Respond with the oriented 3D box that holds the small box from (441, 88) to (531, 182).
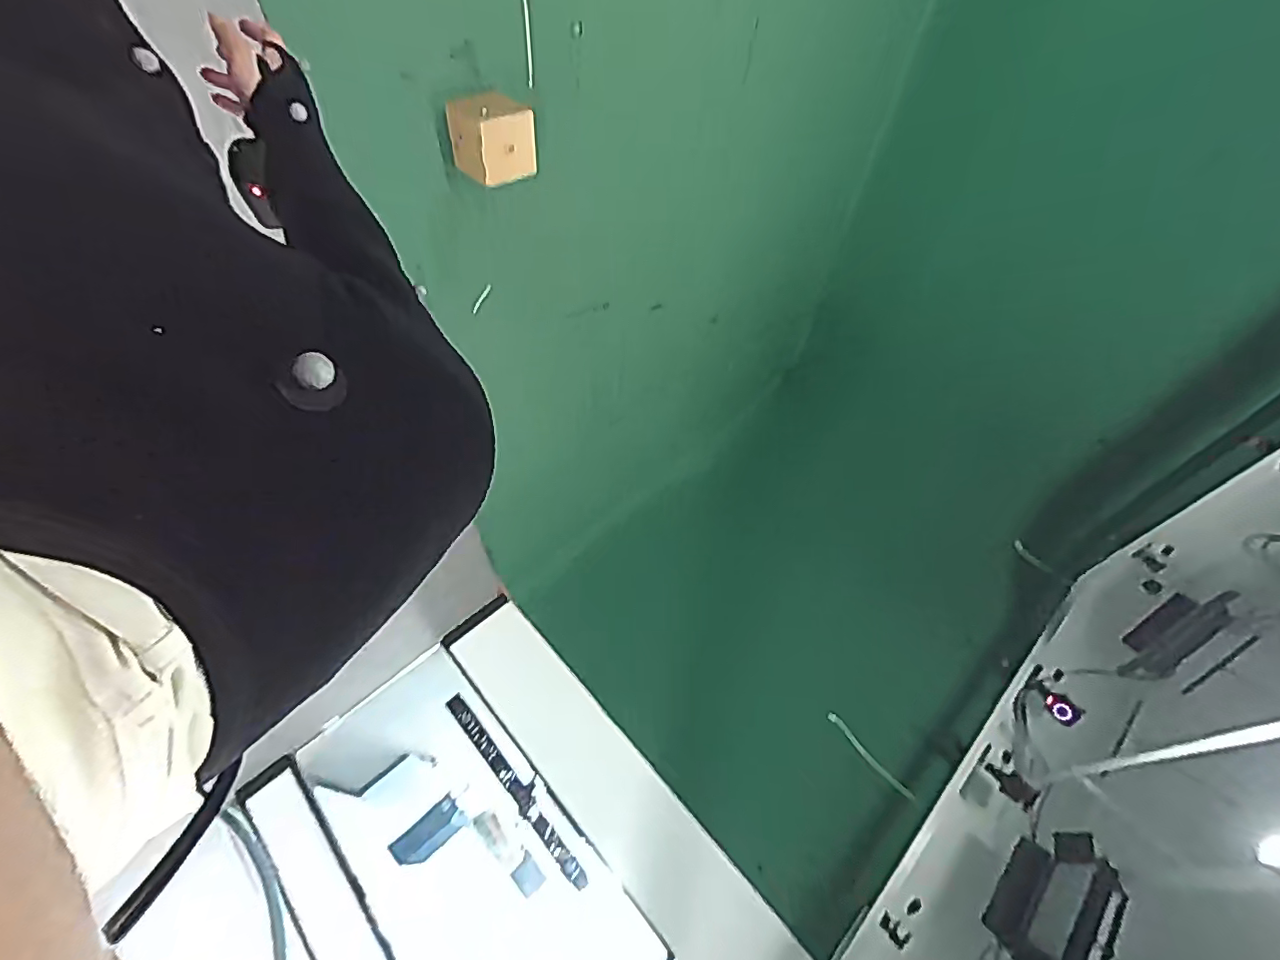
[{"bbox_3d":[-0.432,-0.984,1.536,0.179,0.176,0.168,-35,154,-27],"label":"small box"}]
